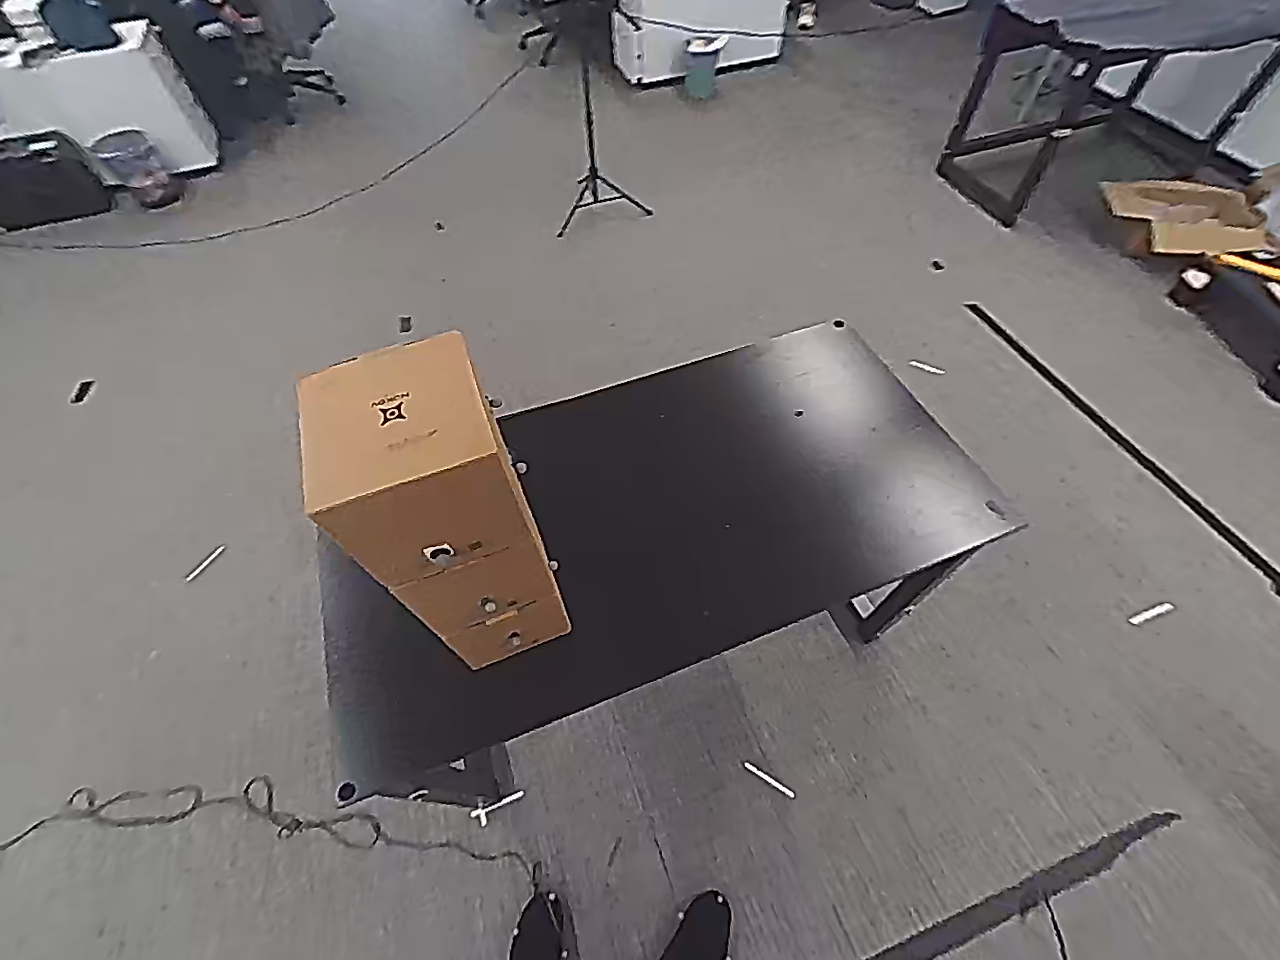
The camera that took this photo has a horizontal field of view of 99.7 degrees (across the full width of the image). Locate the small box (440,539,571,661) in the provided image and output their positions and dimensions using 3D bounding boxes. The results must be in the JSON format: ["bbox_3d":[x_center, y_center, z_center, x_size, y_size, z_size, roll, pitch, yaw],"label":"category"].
[{"bbox_3d":[-0.215,0.162,0.837,0.168,0.176,0.179,-20,58,-11],"label":"small box"}]

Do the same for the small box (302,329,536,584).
[{"bbox_3d":[-0.222,-0.020,0.565,0.168,0.176,0.179,-20,58,-10],"label":"small box"}]

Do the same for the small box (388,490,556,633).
[{"bbox_3d":[-0.219,0.070,0.701,0.168,0.176,0.179,-19,58,-10],"label":"small box"}]
